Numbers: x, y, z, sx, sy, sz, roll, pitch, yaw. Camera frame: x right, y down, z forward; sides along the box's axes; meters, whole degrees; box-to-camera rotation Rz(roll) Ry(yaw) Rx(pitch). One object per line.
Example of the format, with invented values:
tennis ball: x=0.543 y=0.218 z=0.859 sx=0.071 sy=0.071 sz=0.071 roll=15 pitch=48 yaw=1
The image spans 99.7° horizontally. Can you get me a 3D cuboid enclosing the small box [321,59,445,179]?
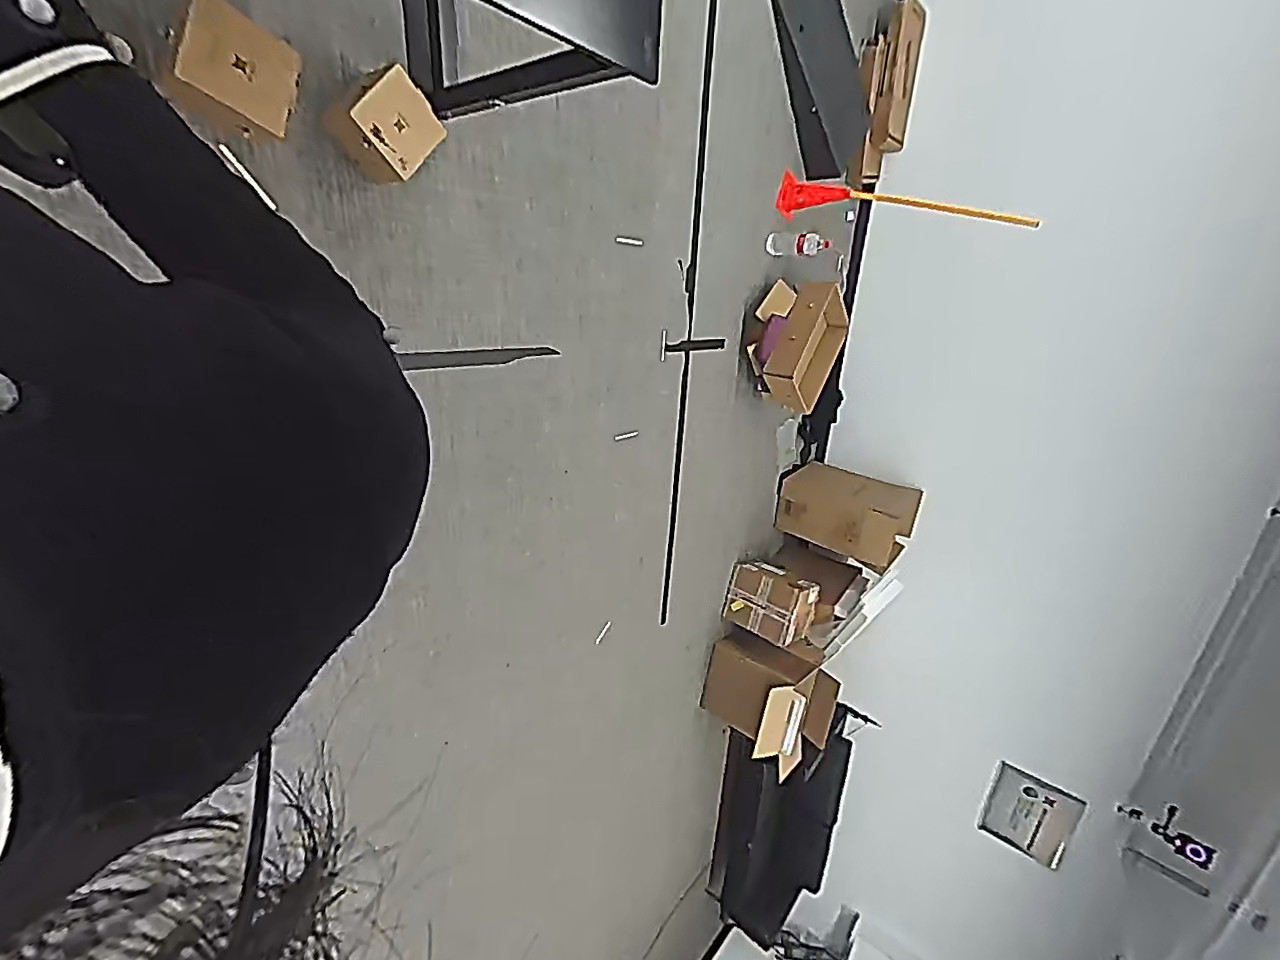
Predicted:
small box: x=-0.610 y=-0.845 z=1.278 sx=0.179 sy=0.176 sz=0.168 roll=-59 pitch=143 yaw=-15

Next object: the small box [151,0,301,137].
small box: x=-0.804 y=-0.798 z=1.050 sx=0.179 sy=0.176 sz=0.168 roll=12 pitch=95 yaw=-53
